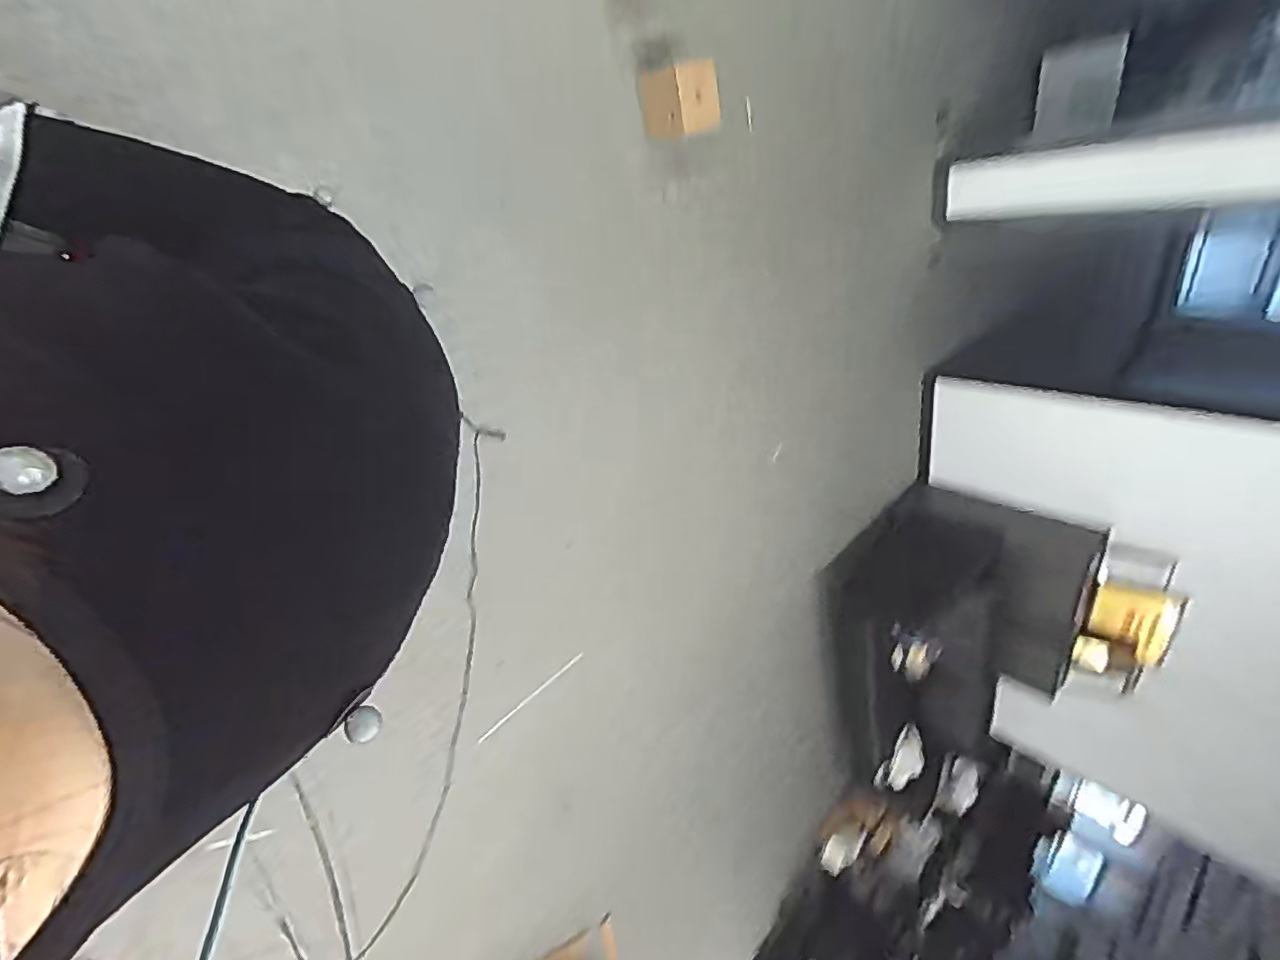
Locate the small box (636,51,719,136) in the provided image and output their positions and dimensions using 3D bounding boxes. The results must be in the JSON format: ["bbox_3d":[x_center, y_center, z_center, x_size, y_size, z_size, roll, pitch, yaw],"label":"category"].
[{"bbox_3d":[0.113,-1.162,1.637,0.168,0.176,0.179,-35,126,-28],"label":"small box"}]
